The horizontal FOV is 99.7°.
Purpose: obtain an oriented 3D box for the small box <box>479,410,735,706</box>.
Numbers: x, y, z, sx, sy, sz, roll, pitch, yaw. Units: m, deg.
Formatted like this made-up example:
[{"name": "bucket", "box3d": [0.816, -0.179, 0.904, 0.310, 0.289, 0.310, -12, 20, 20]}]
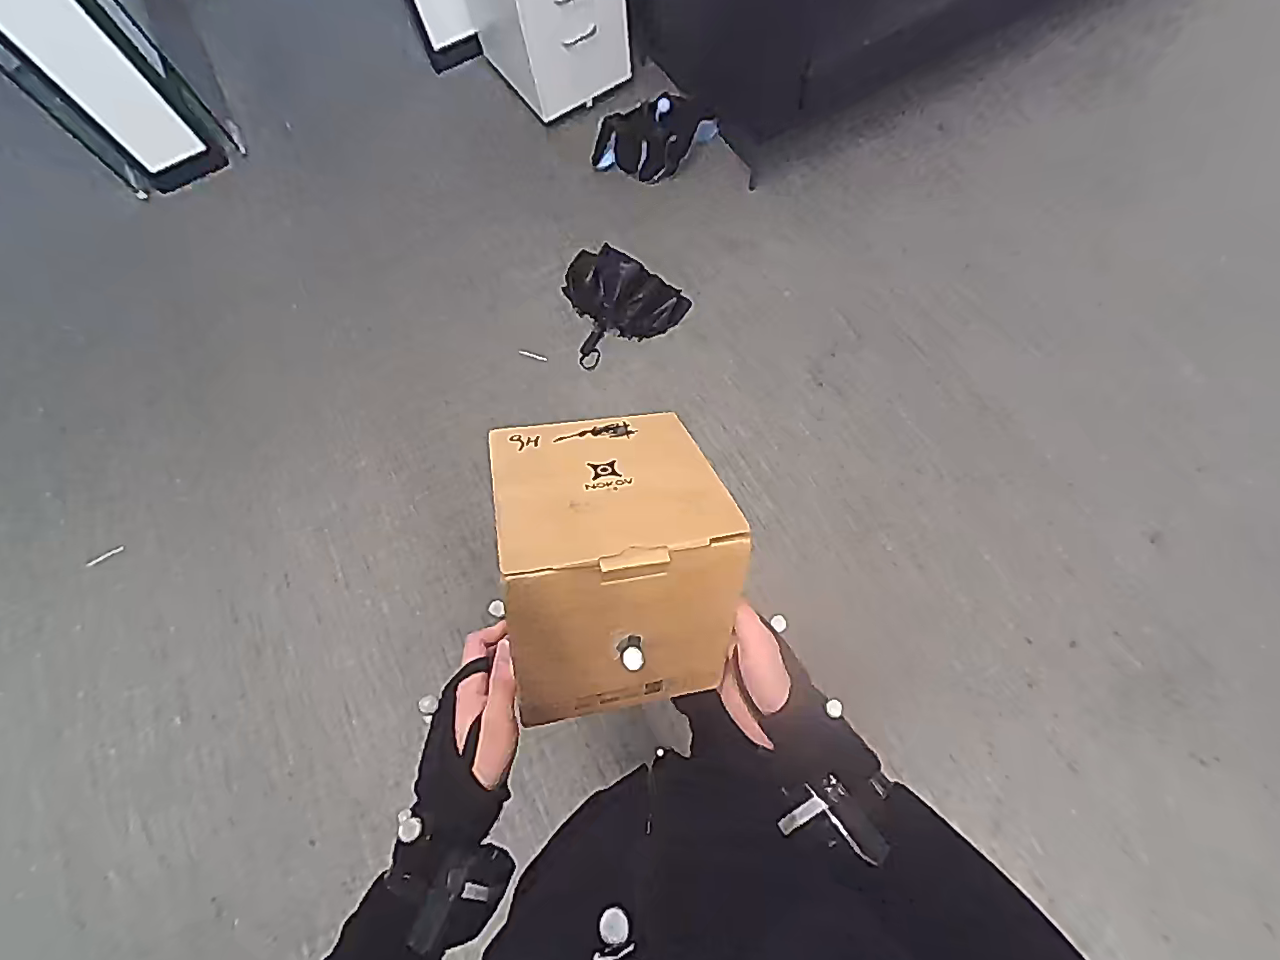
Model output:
[{"name": "small box", "box3d": [-0.037, 0.063, 0.445, 0.168, 0.176, 0.179, -6, 38, -13]}]
